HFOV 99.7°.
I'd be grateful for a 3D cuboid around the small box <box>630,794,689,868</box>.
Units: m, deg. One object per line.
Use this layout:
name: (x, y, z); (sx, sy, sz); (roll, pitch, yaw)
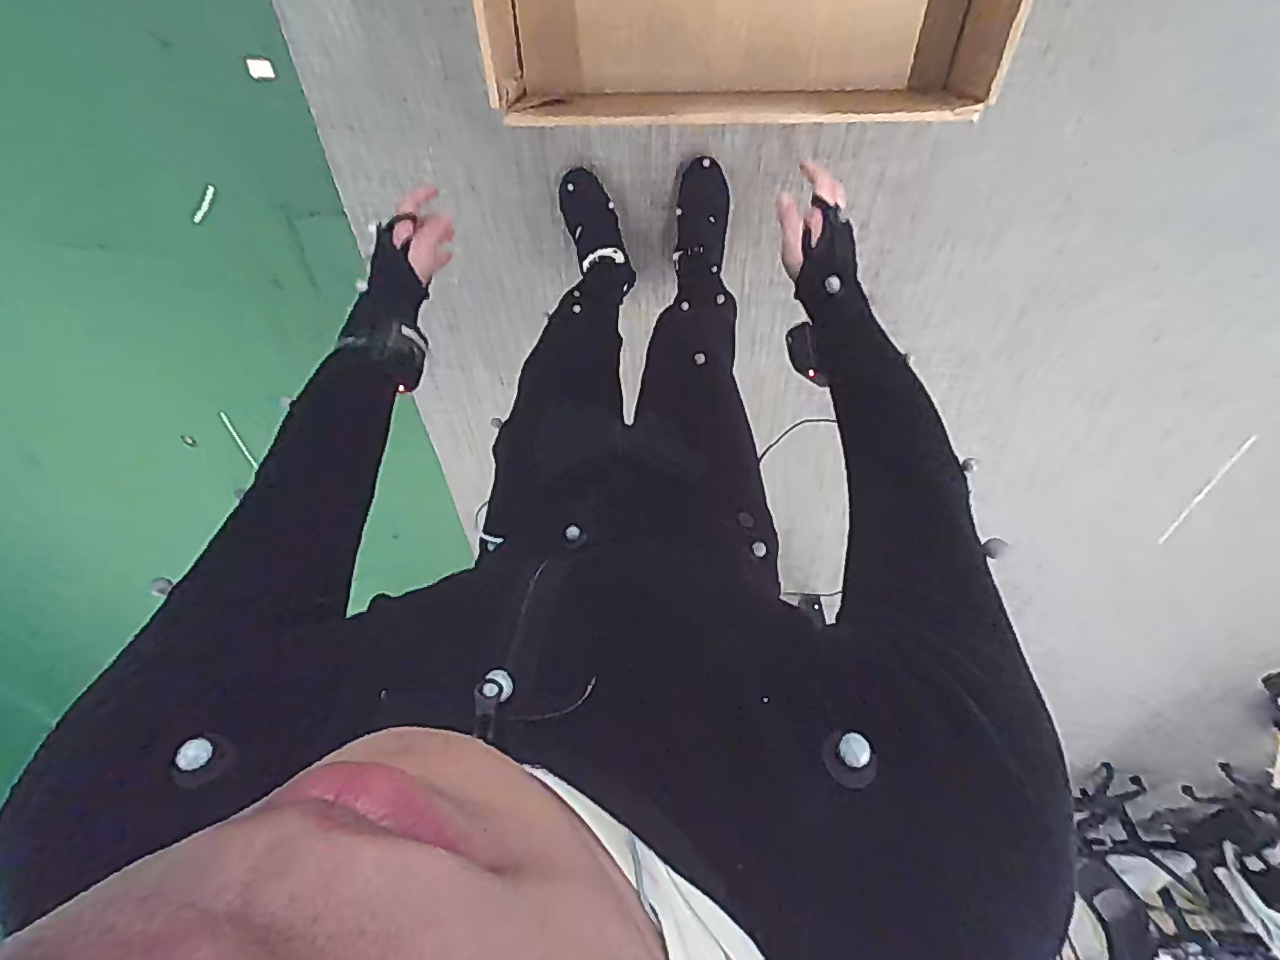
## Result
small box: (0.066, 1.134, 1.746); (0.168, 0.176, 0.179); (-7, 132, 9)
